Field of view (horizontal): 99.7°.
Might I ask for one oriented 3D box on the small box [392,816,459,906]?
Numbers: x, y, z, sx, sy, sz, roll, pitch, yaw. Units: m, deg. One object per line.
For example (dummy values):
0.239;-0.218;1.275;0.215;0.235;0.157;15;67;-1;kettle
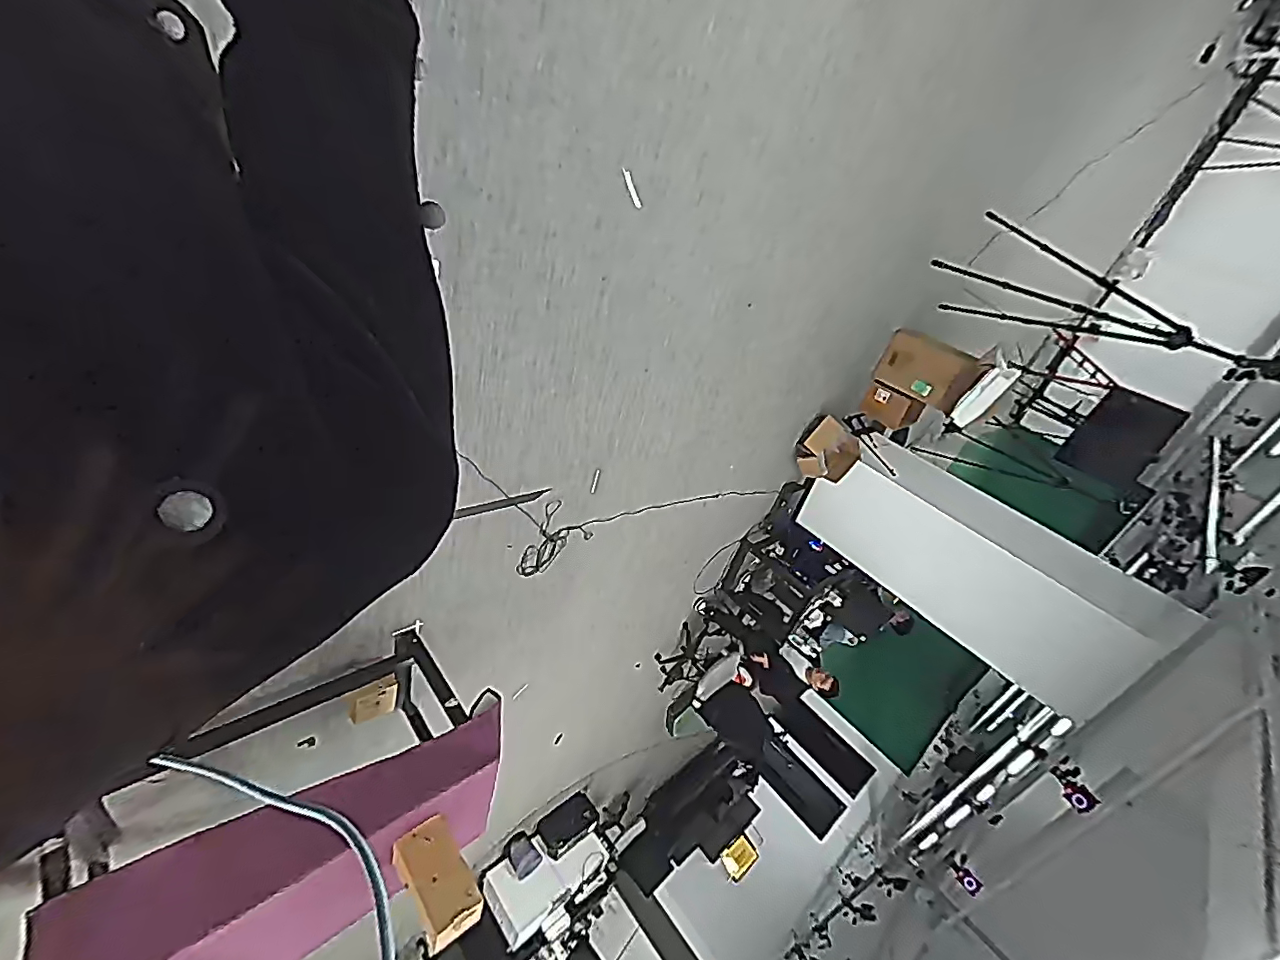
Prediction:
-0.763;1.339;1.913;0.168;0.176;0.179;-16;134;-42;small box
